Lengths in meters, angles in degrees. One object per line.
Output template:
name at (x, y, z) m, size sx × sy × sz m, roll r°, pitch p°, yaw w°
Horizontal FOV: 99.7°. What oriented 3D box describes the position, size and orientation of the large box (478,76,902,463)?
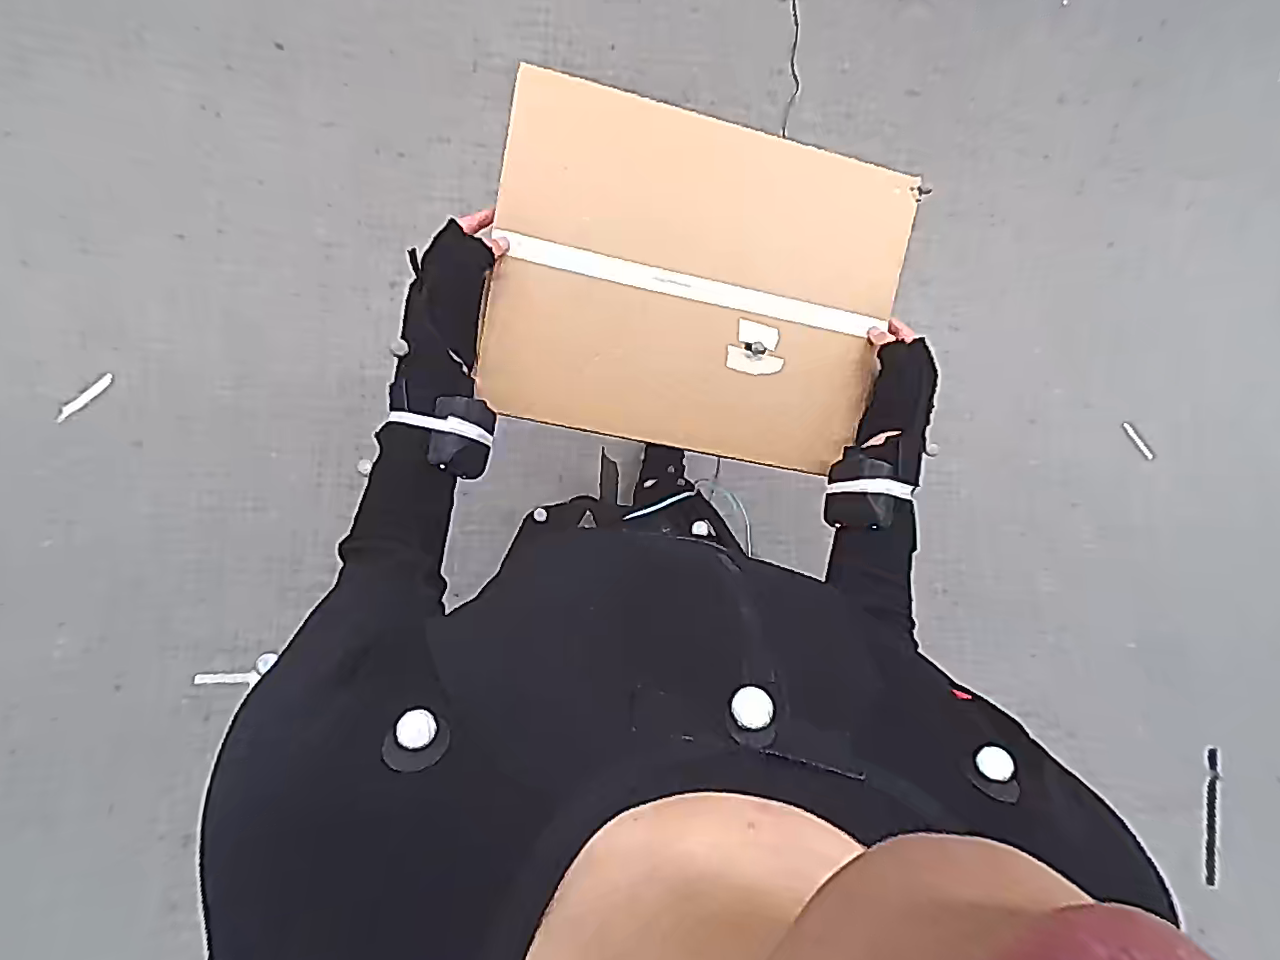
large box at (0.034, -0.217, 0.696) m, size 0.408 × 0.320 × 0.320 m, roll 10°, pitch 97°, yaw -10°
